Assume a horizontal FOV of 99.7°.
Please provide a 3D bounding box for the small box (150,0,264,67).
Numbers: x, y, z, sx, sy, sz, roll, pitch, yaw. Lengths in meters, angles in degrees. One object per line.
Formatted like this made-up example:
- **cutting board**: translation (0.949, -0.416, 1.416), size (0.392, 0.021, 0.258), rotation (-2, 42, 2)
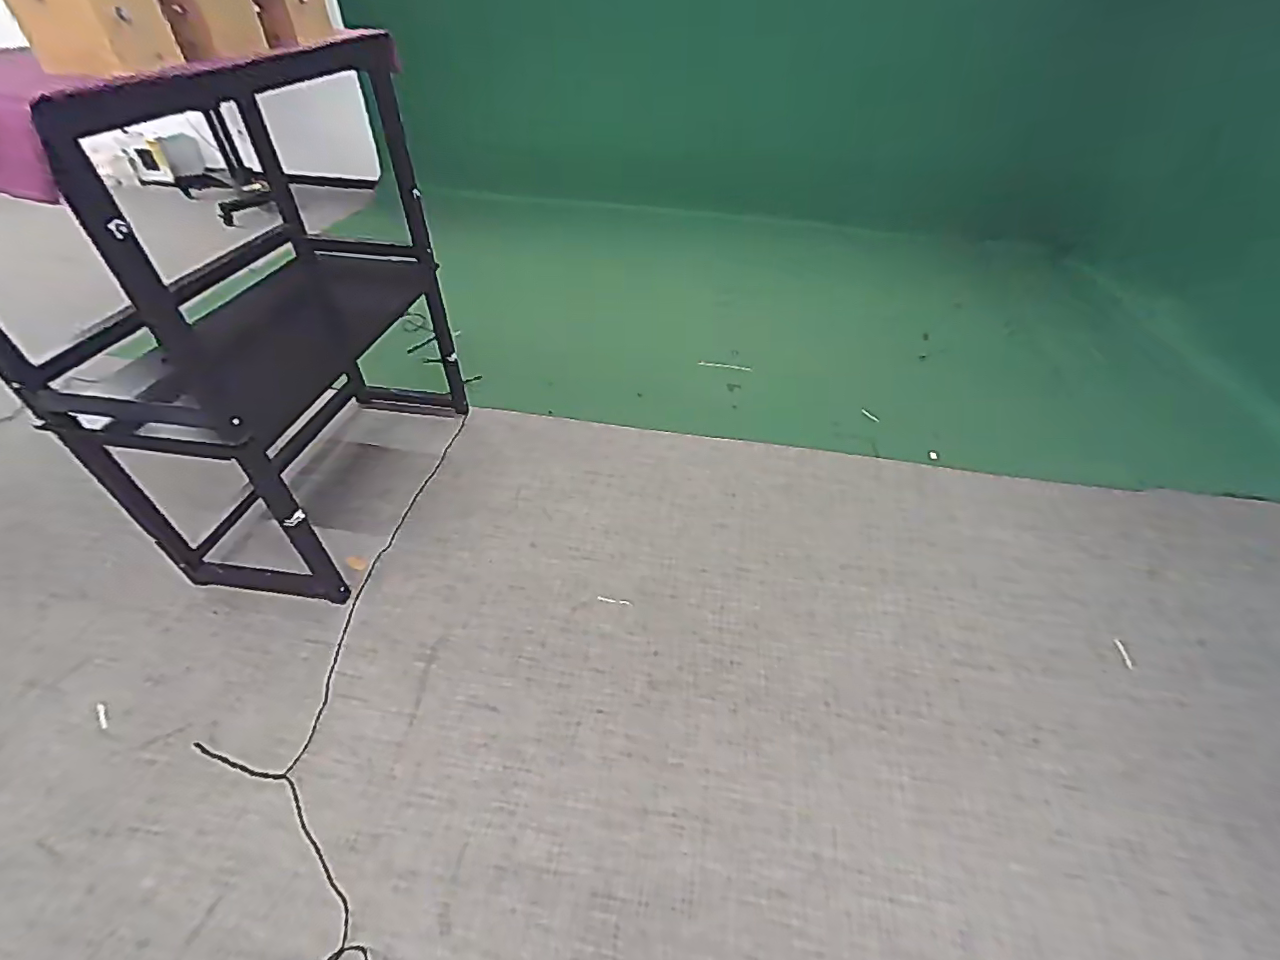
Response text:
- **small box**: translation (-1.023, -1.070, 1.248), size (0.168, 0.176, 0.179), rotation (7, 44, 6)

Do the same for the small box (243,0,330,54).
- **small box**: translation (-0.978, -1.268, 1.457), size (0.168, 0.176, 0.179), rotation (7, 45, 4)

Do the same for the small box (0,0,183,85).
- **small box**: translation (-1.060, -0.883, 1.050), size (0.179, 0.176, 0.168), rotation (5, 43, 5)
